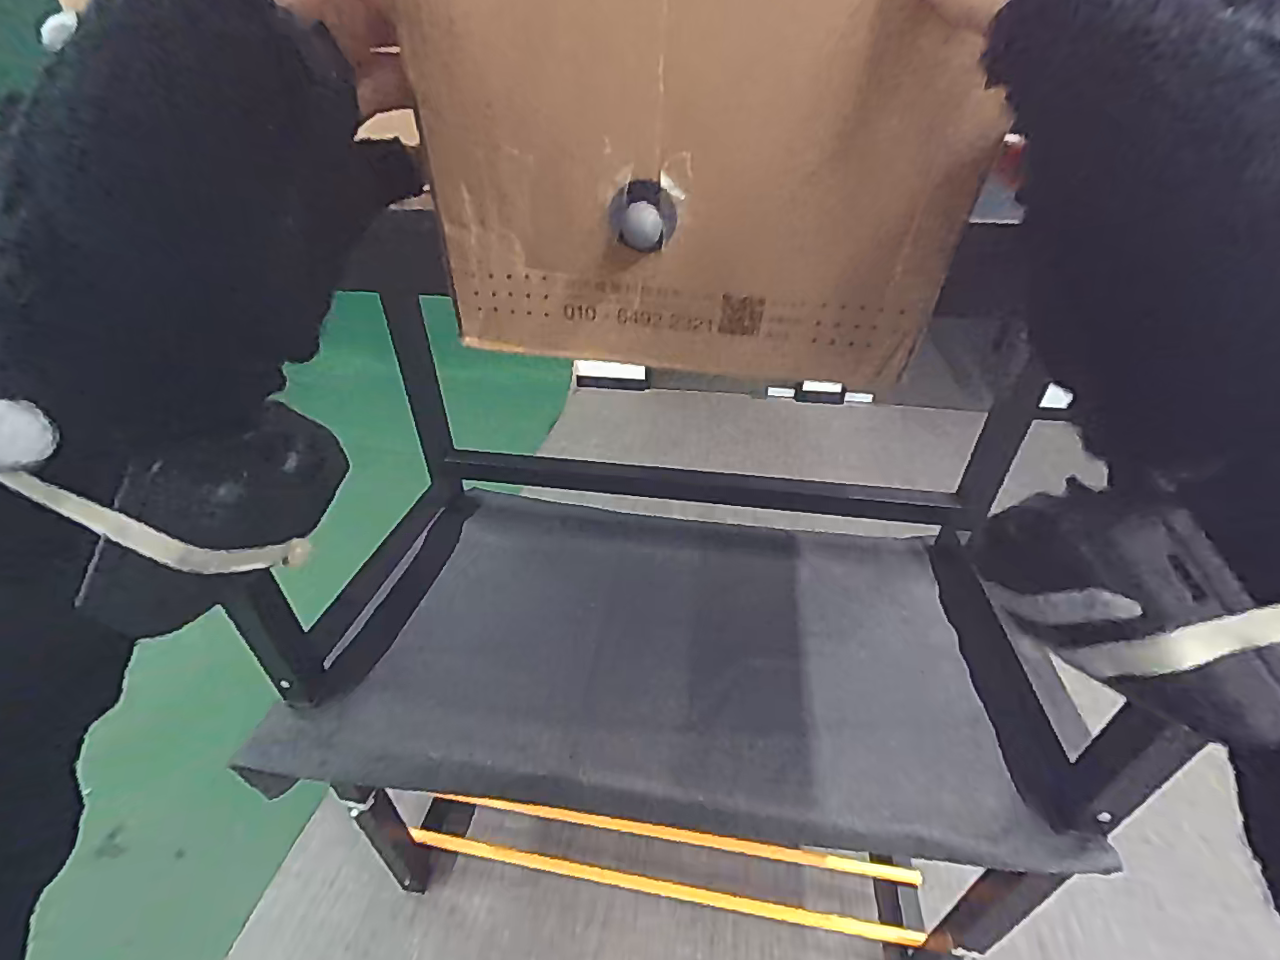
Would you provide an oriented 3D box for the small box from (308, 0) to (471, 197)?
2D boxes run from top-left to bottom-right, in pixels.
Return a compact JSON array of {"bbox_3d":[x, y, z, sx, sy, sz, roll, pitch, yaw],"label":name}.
[{"bbox_3d":[-0.141,-0.344,0.460,0.168,0.176,0.179,7,35,9],"label":"small box"}]

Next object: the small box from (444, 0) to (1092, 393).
[{"bbox_3d":[0.032,-0.157,0.209,0.168,0.176,0.179,6,44,3],"label":"small box"}]
